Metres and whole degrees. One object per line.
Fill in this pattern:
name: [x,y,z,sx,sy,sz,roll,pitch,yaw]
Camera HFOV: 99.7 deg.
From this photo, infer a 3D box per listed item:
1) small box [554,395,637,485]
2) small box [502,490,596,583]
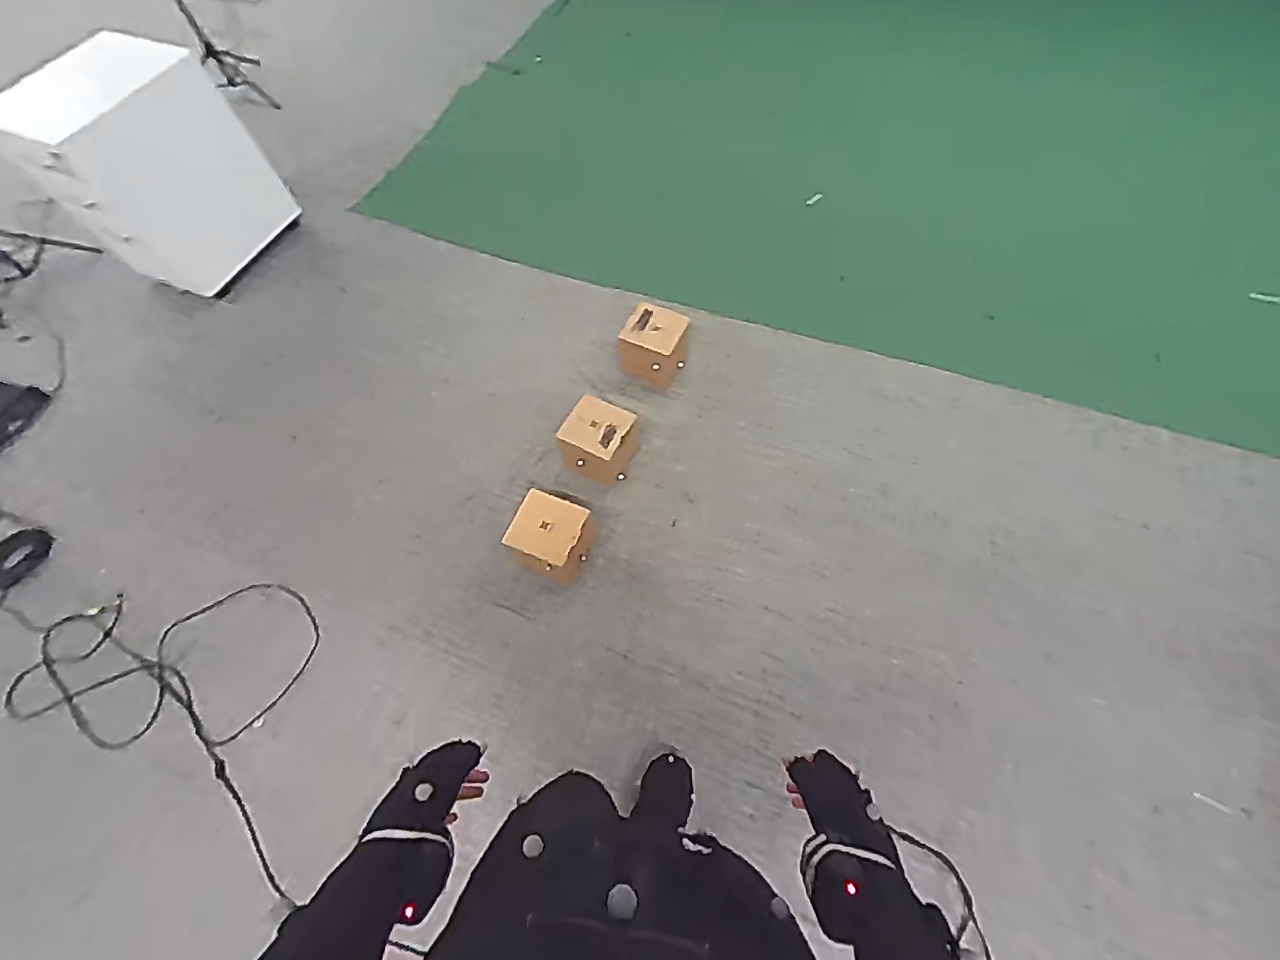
small box: [-0.120,-0.108,1.563,0.179,0.176,0.168,24,66,16]
small box: [-0.234,0.155,1.434,0.179,0.176,0.168,19,66,12]
